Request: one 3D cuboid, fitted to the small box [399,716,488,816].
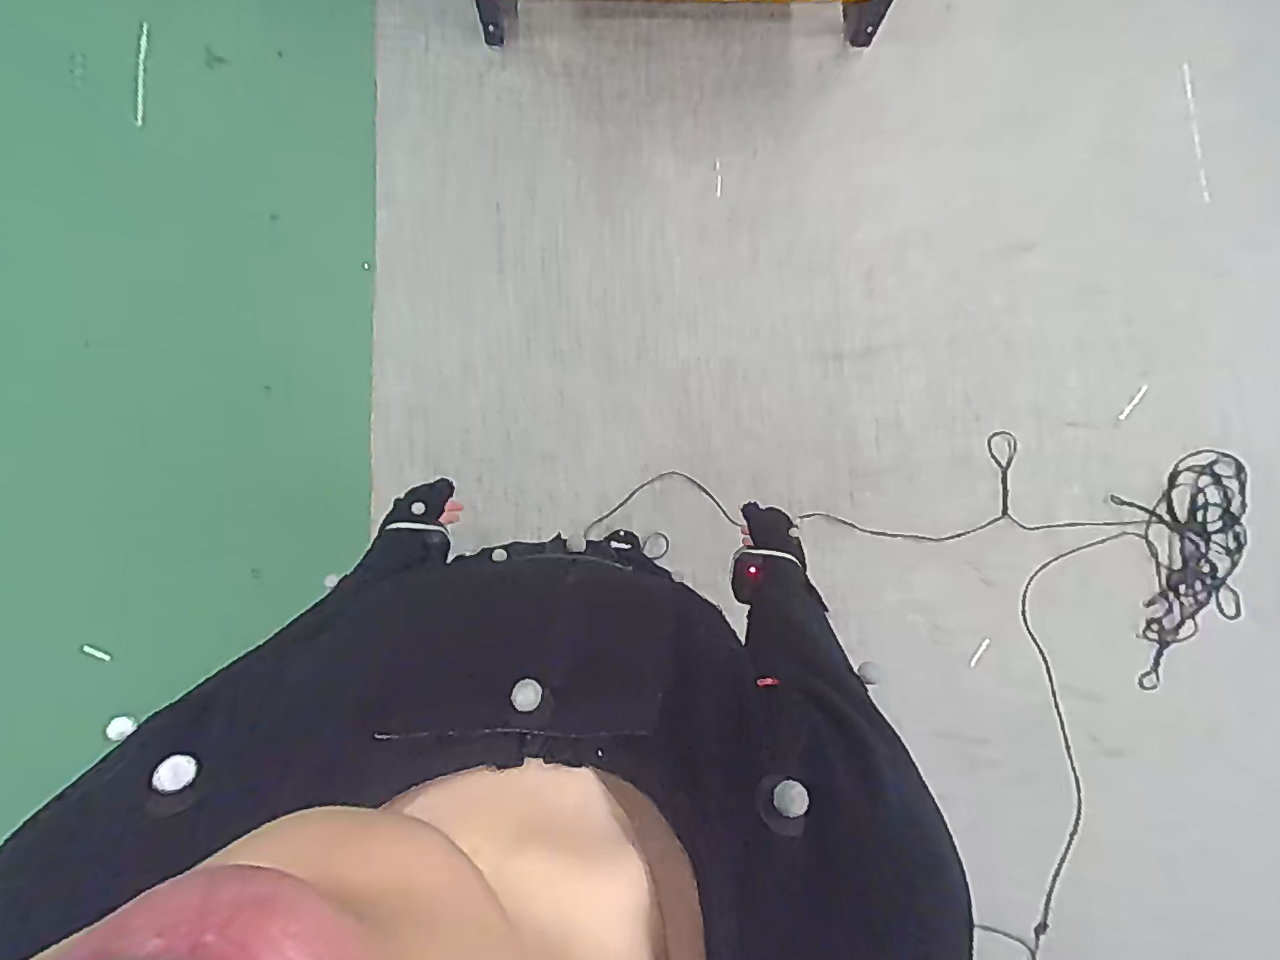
[{"bbox_3d":[-0.477,0.693,1.333,0.168,0.176,0.179,-1,84,-2],"label":"small box"}]
